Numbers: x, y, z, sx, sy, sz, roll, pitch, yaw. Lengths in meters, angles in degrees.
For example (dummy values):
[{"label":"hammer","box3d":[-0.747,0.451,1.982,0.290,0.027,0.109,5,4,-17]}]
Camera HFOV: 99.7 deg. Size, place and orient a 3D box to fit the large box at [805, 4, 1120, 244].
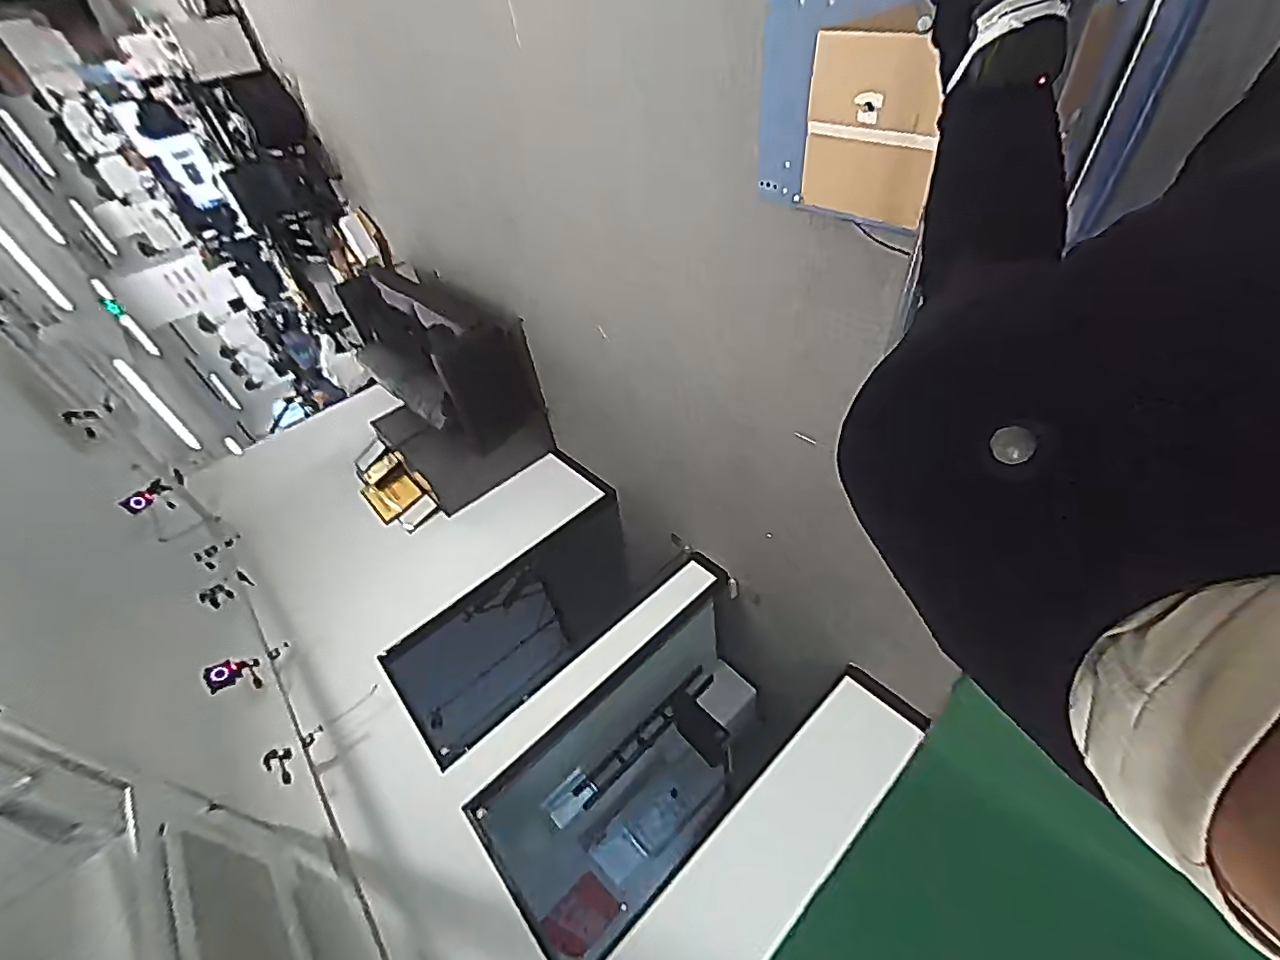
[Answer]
[{"label":"large box","box3d":[0.604,-0.719,1.081,0.408,0.320,0.320,37,149,35]}]
